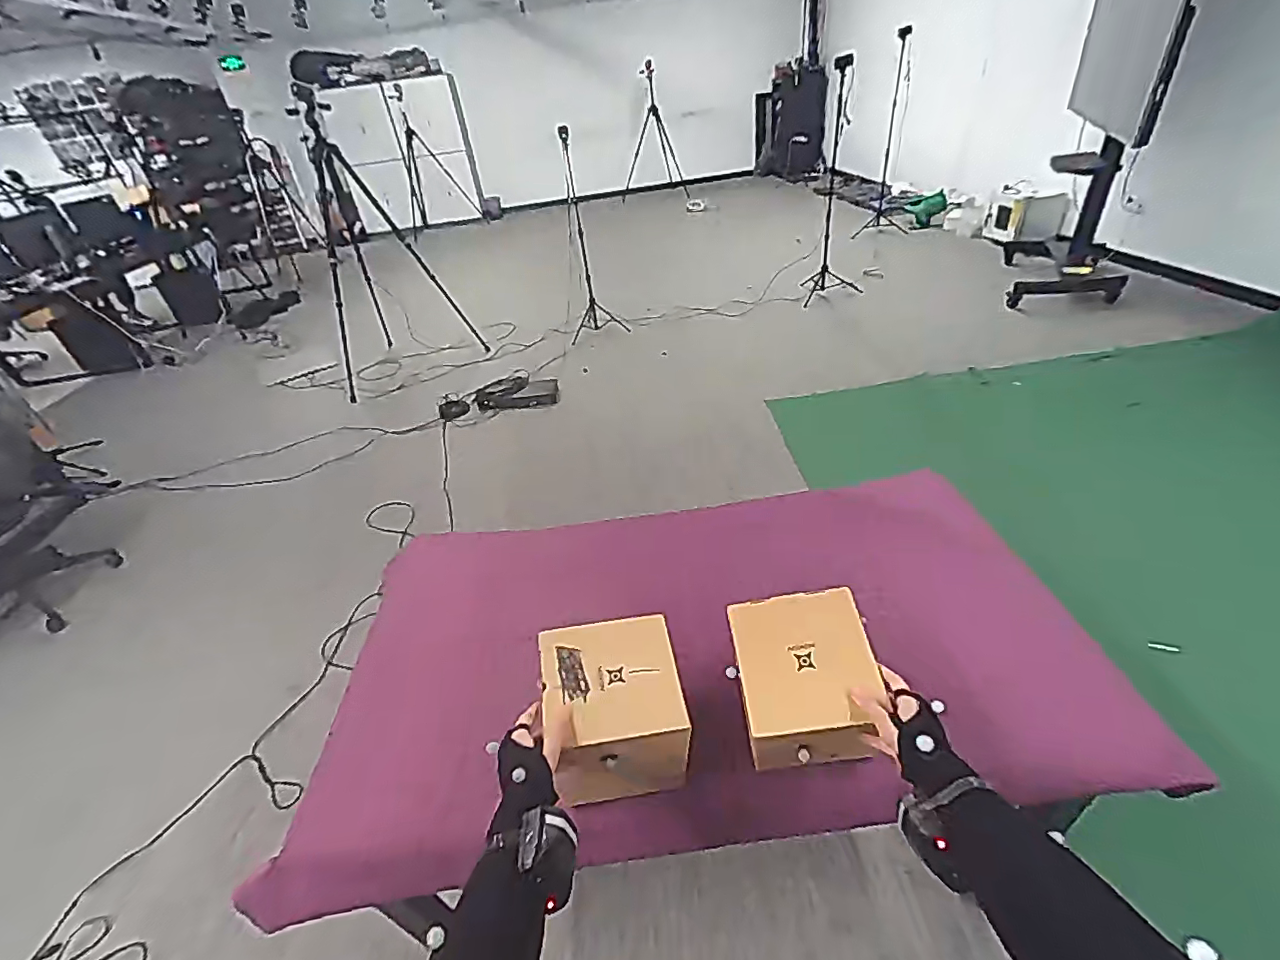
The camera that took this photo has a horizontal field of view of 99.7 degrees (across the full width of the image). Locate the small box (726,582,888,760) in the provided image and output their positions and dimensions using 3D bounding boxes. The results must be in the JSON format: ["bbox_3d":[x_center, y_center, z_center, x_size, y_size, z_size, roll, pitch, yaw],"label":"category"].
[{"bbox_3d":[0.218,0.267,0.738,0.168,0.176,0.179,-10,46,6],"label":"small box"}]
